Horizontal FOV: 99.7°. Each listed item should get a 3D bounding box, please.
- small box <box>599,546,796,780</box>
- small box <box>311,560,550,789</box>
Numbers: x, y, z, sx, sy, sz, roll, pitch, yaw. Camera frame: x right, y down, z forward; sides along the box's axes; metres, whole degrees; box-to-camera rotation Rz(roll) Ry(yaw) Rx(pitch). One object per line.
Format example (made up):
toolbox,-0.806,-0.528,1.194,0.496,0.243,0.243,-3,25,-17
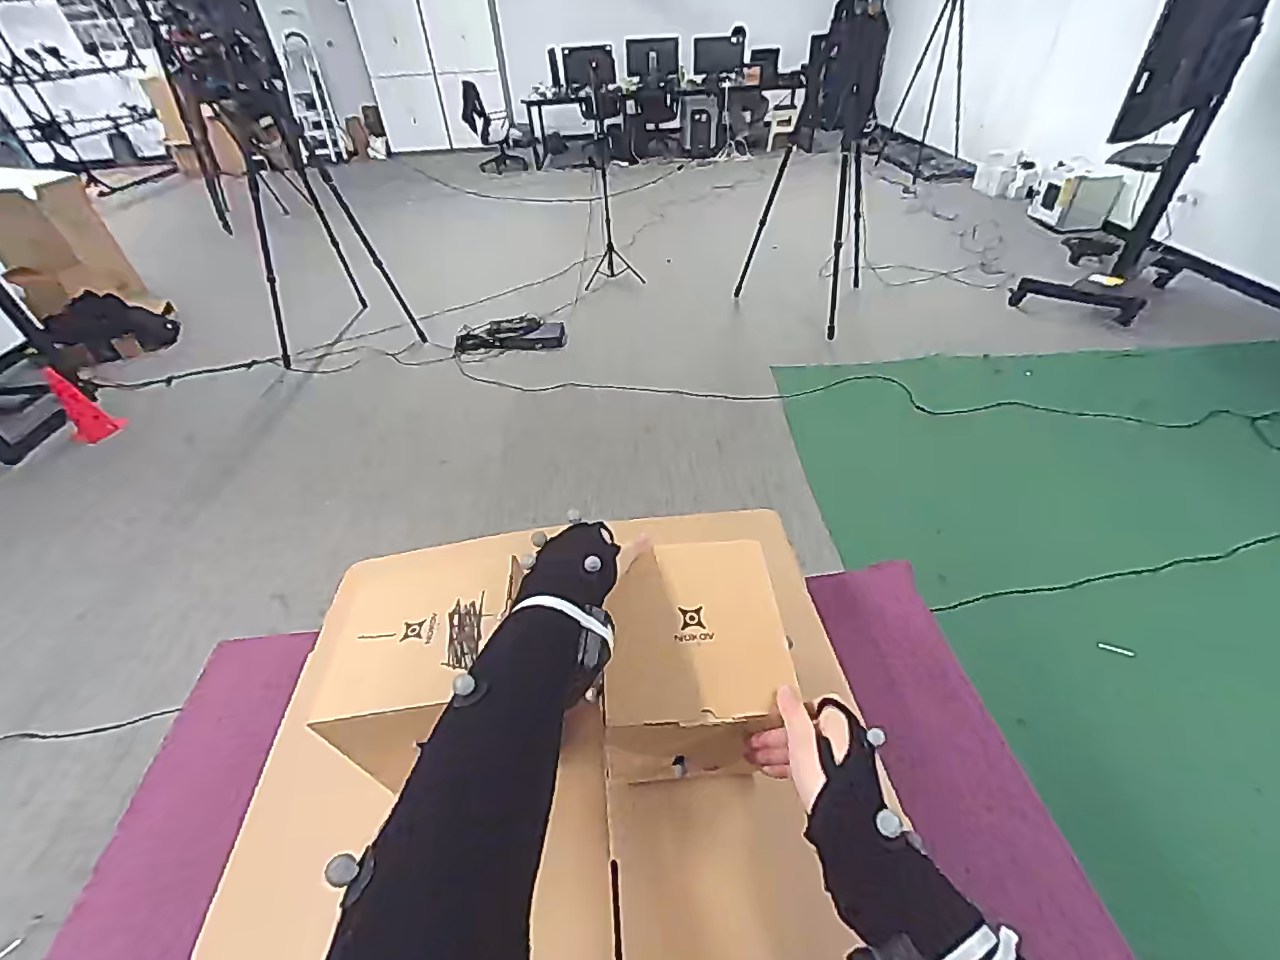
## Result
small box,0.041,0.188,0.558,0.168,0.176,0.179,-3,50,-4
small box,-0.203,0.214,0.591,0.179,0.176,0.168,-10,41,3
